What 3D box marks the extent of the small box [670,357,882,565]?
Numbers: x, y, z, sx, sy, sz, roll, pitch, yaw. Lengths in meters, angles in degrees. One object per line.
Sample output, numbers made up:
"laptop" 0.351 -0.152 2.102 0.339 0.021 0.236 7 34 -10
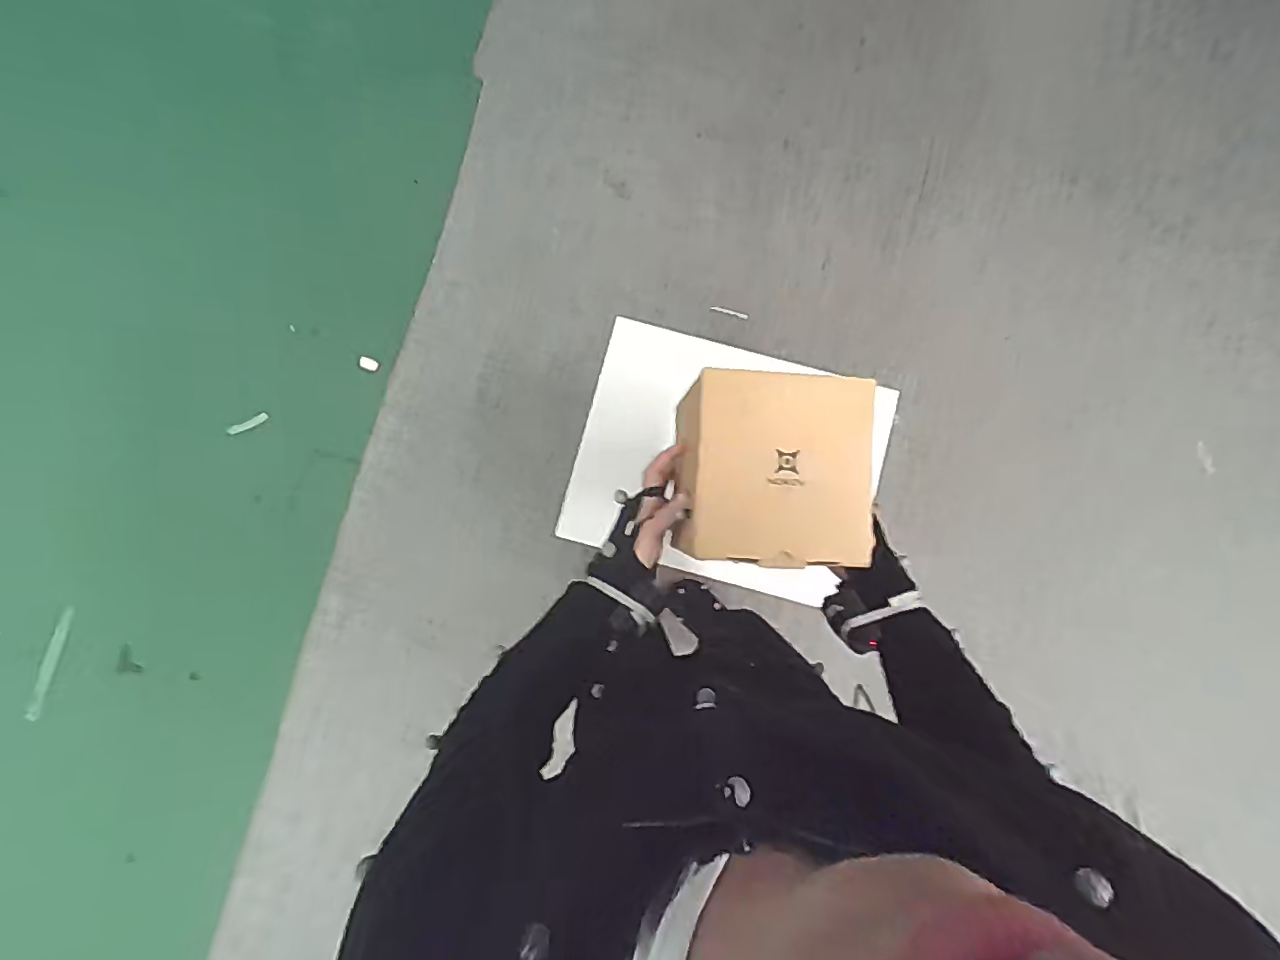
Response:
"small box" 0.122 -0.012 0.546 0.168 0.176 0.179 2 87 -4
